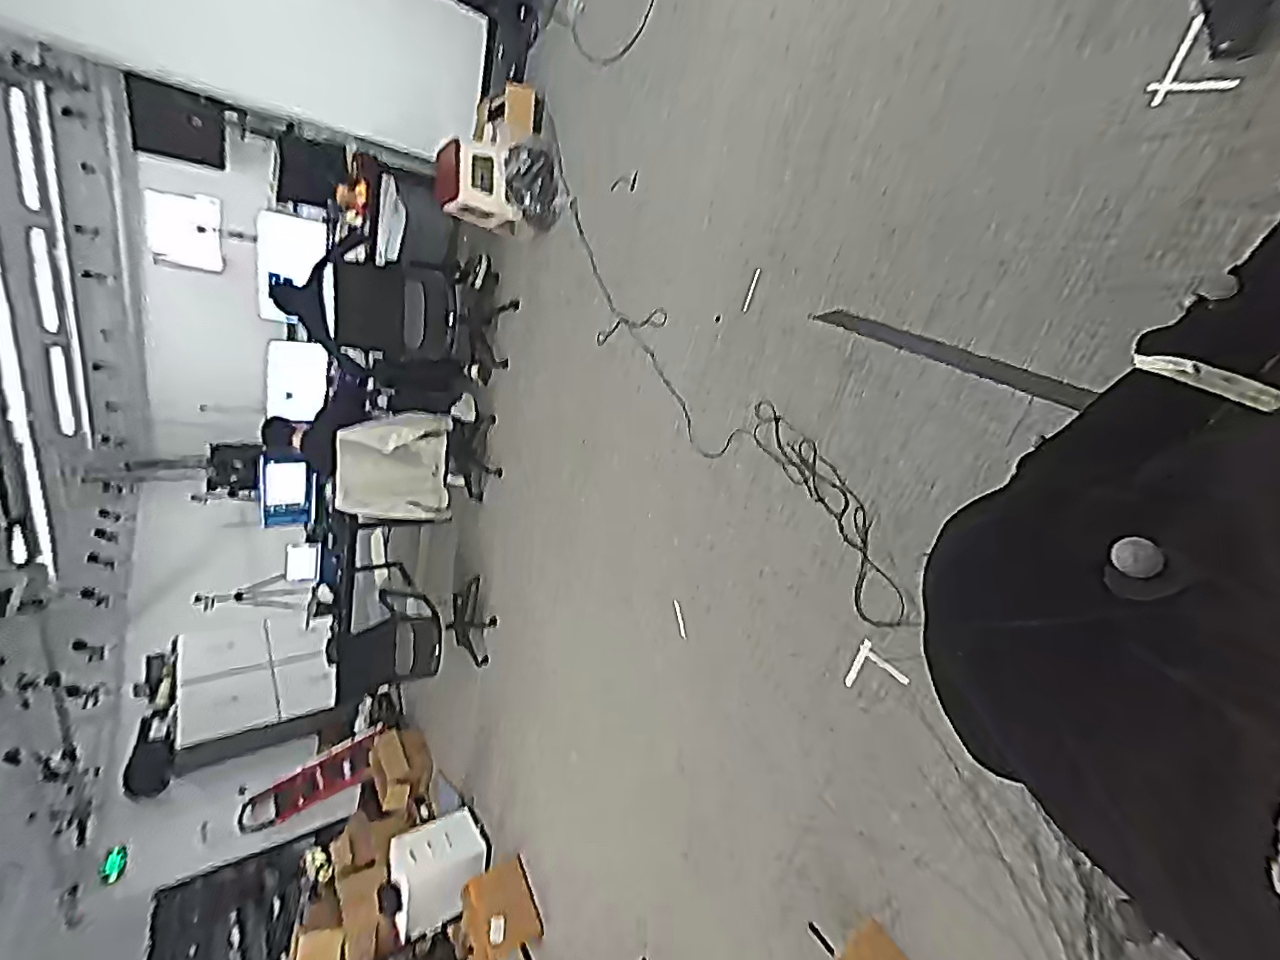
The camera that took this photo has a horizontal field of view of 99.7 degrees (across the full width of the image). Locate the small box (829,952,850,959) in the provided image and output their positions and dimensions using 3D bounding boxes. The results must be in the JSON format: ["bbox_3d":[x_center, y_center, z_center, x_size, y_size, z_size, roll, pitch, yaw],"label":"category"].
[{"bbox_3d":[0.545,1.470,1.490,0.179,0.176,0.168,47,126,37],"label":"small box"}]

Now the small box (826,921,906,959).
[{"bbox_3d":[0.673,1.454,1.592,0.179,0.176,0.168,44,125,39],"label":"small box"}]
